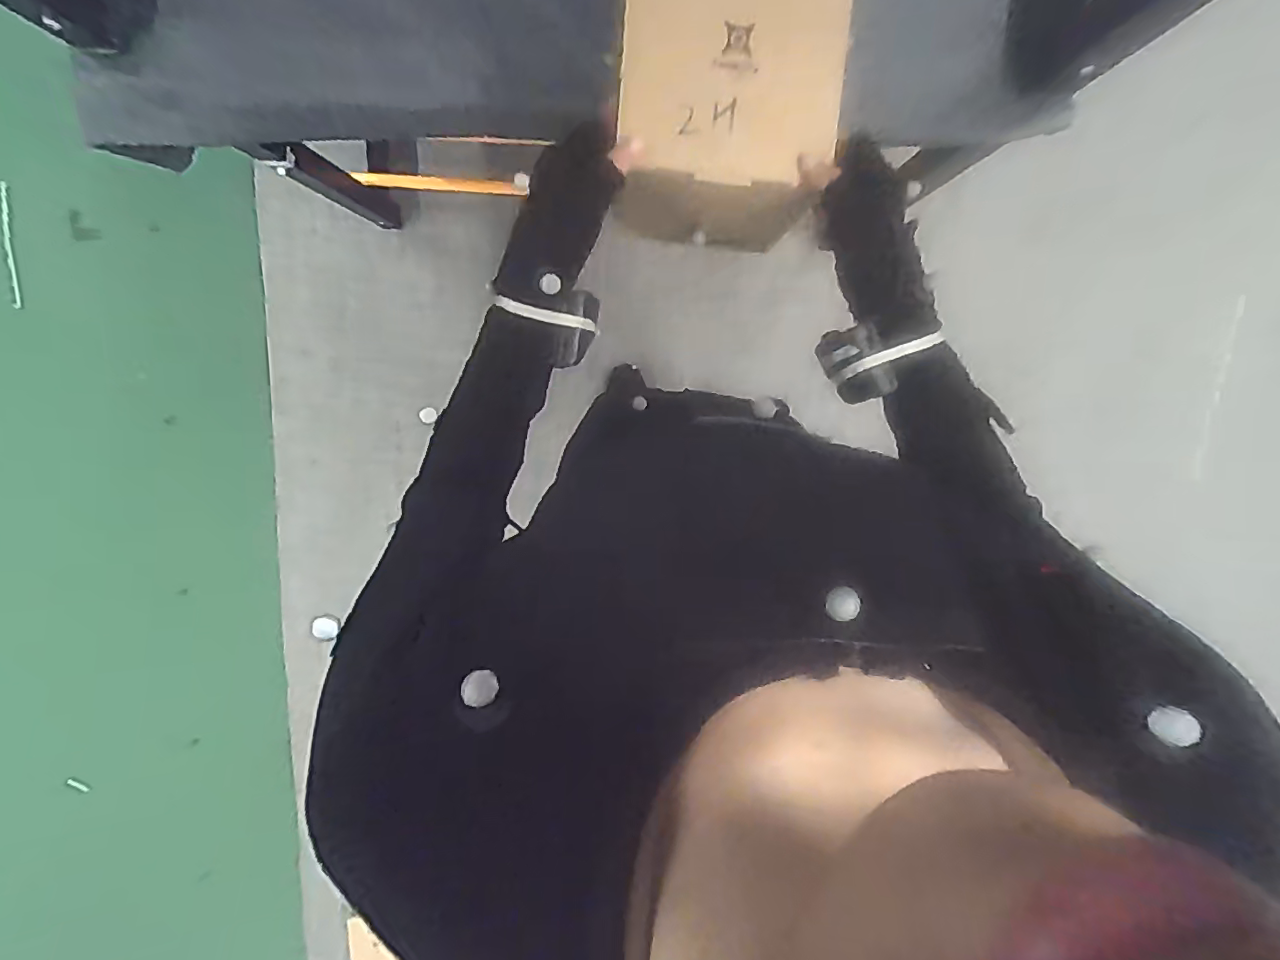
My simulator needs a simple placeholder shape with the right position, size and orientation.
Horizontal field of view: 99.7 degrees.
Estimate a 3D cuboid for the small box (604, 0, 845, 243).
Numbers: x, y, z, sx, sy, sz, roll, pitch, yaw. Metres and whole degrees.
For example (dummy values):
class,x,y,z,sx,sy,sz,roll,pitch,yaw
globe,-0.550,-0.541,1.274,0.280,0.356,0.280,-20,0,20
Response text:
class,x,y,z,sx,sy,sz,roll,pitch,yaw
small box,0.058,-0.328,0.467,0.168,0.176,0.179,5,98,-4
